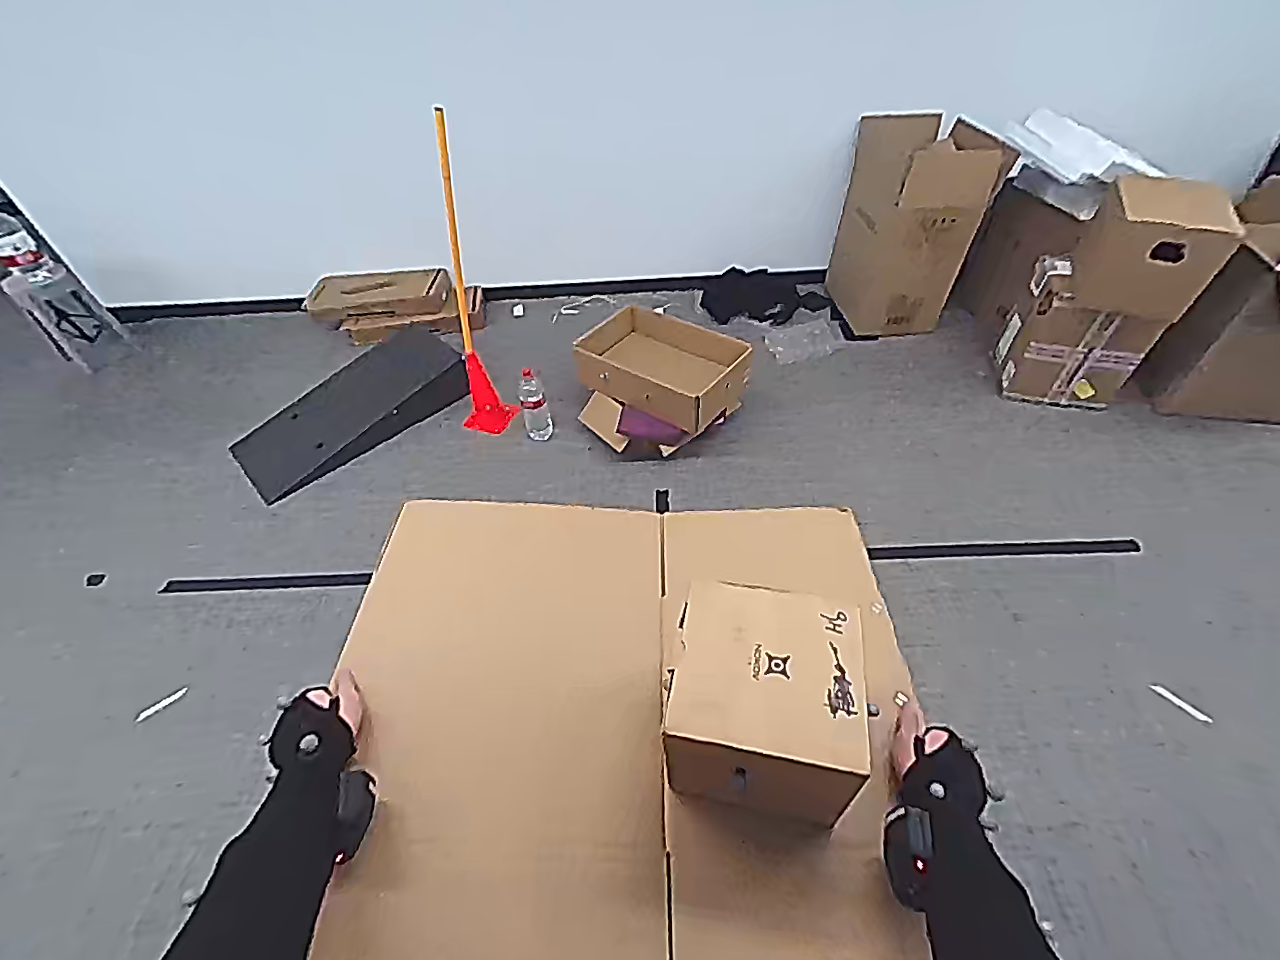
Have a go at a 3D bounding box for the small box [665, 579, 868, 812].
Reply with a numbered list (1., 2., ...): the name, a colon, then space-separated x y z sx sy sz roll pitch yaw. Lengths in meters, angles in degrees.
1. small box: 0.131 0.229 0.574 0.179 0.176 0.168 5 47 13
